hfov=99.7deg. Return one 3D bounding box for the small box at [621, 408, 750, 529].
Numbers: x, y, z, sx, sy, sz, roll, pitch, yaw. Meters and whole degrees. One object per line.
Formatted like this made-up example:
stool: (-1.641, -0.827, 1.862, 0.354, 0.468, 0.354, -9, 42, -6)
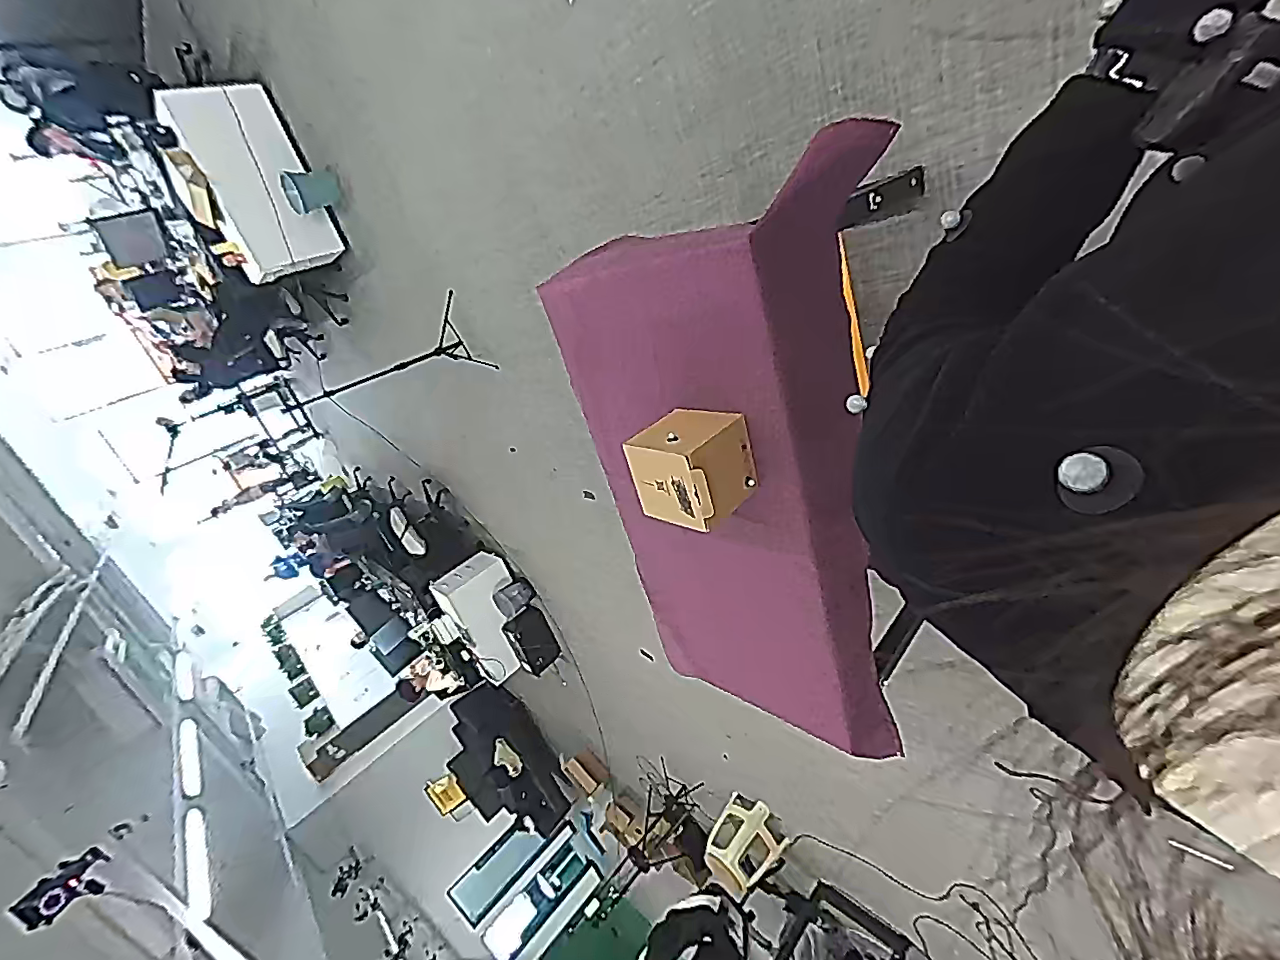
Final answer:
small box: (0.098, -0.031, 1.061, 0.179, 0.176, 0.168, 13, 129, 47)
